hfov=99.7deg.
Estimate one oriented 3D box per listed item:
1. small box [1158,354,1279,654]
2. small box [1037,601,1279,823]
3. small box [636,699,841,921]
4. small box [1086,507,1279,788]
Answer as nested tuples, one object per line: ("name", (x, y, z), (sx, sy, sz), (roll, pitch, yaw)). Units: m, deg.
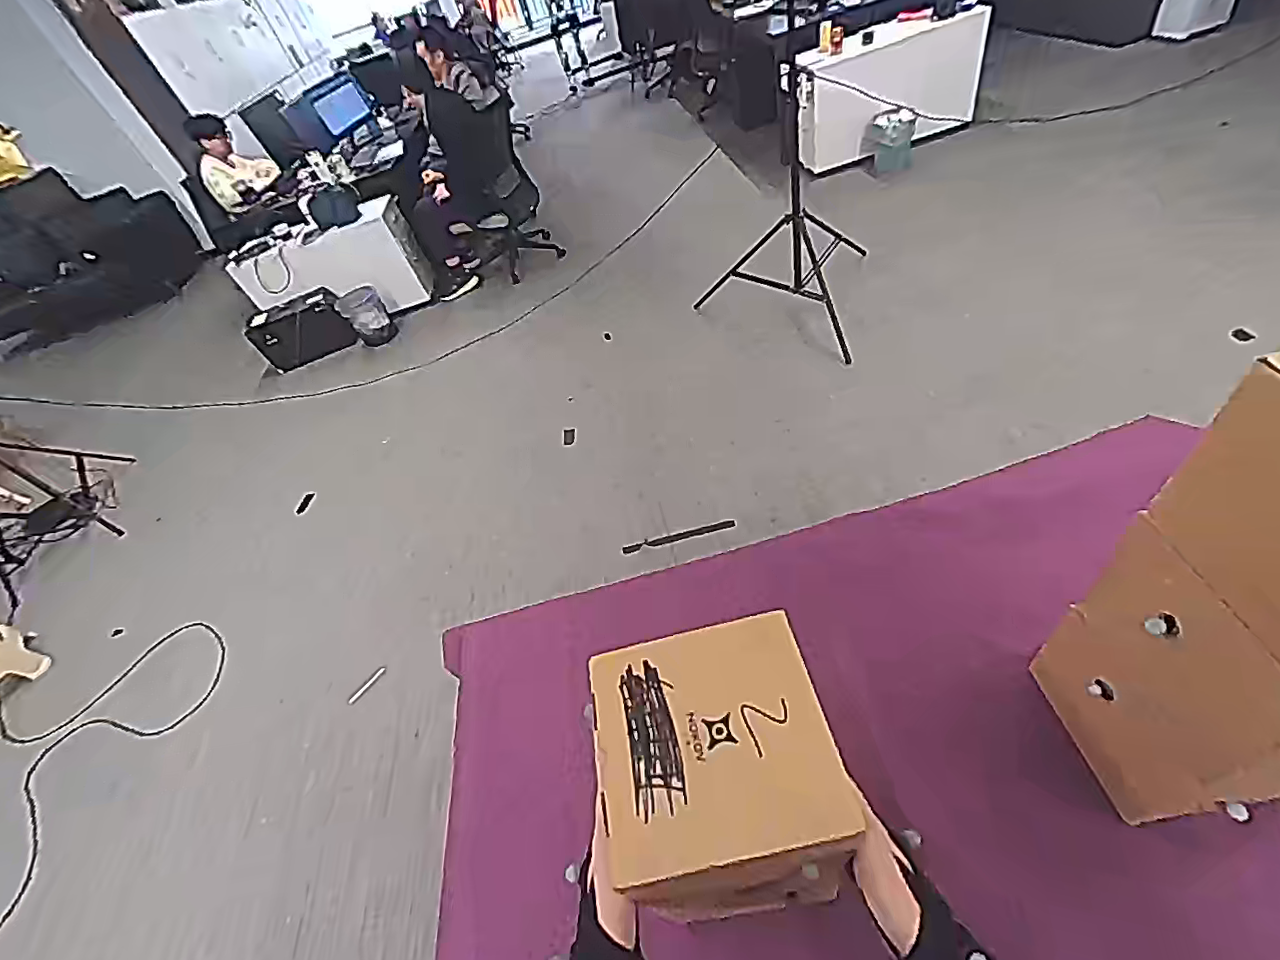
("small box", (0.483, 0.022, 0.320), (0.168, 0.176, 0.179), (-14, 46, 8))
("small box", (0.561, 0.228, 0.562), (0.168, 0.176, 0.179), (-15, 46, 6))
("small box", (0.105, 0.365, 0.593), (0.179, 0.176, 0.168), (-14, 45, 7))
("small box", (0.522, 0.124, 0.441), (0.168, 0.176, 0.179), (-13, 45, 8))
